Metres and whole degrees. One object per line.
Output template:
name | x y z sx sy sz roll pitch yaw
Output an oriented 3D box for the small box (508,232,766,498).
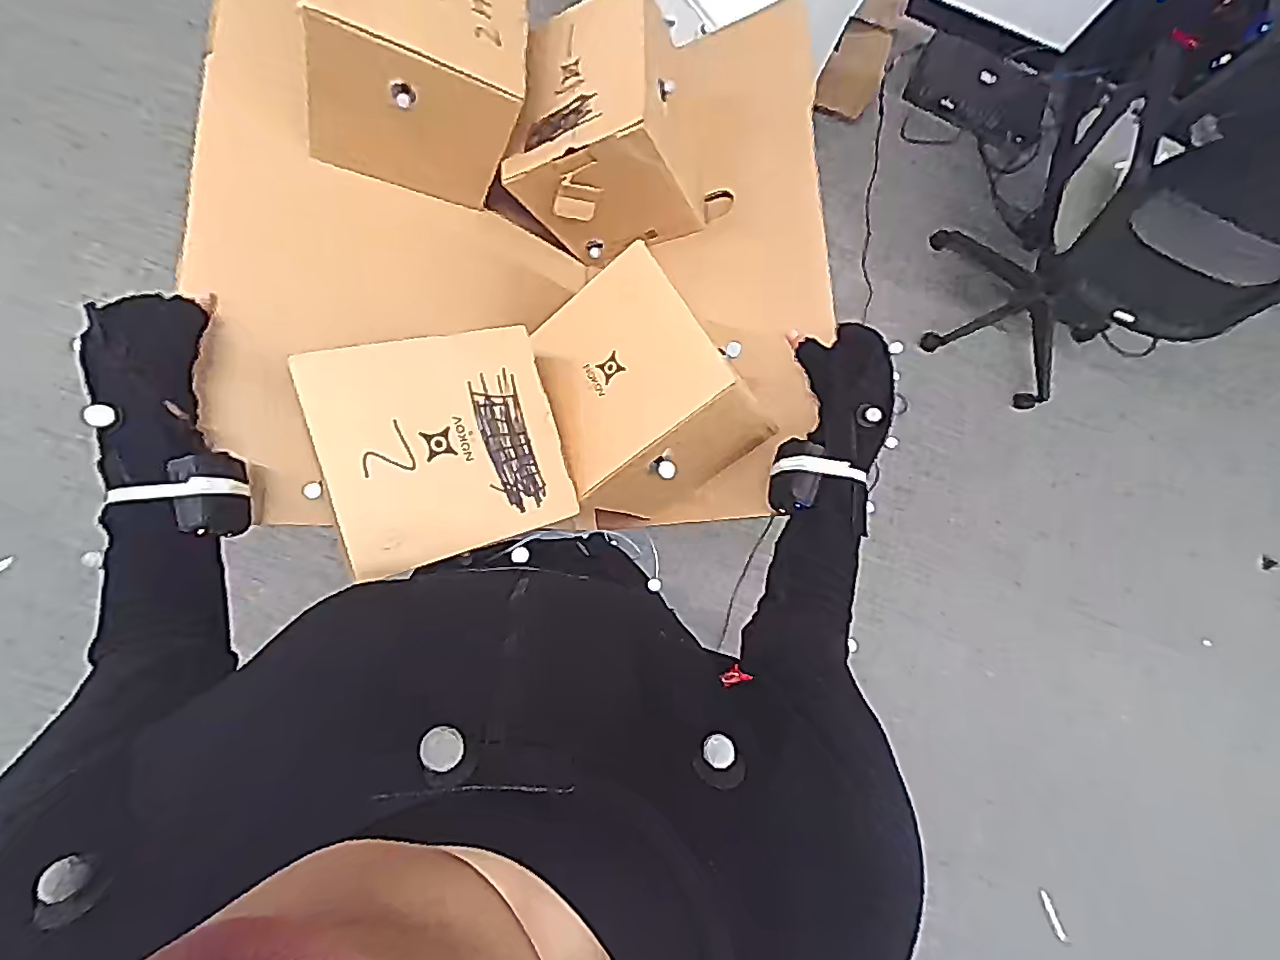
small box | 0.009 -0.097 0.543 0.179 0.176 0.168 -37 69 19
